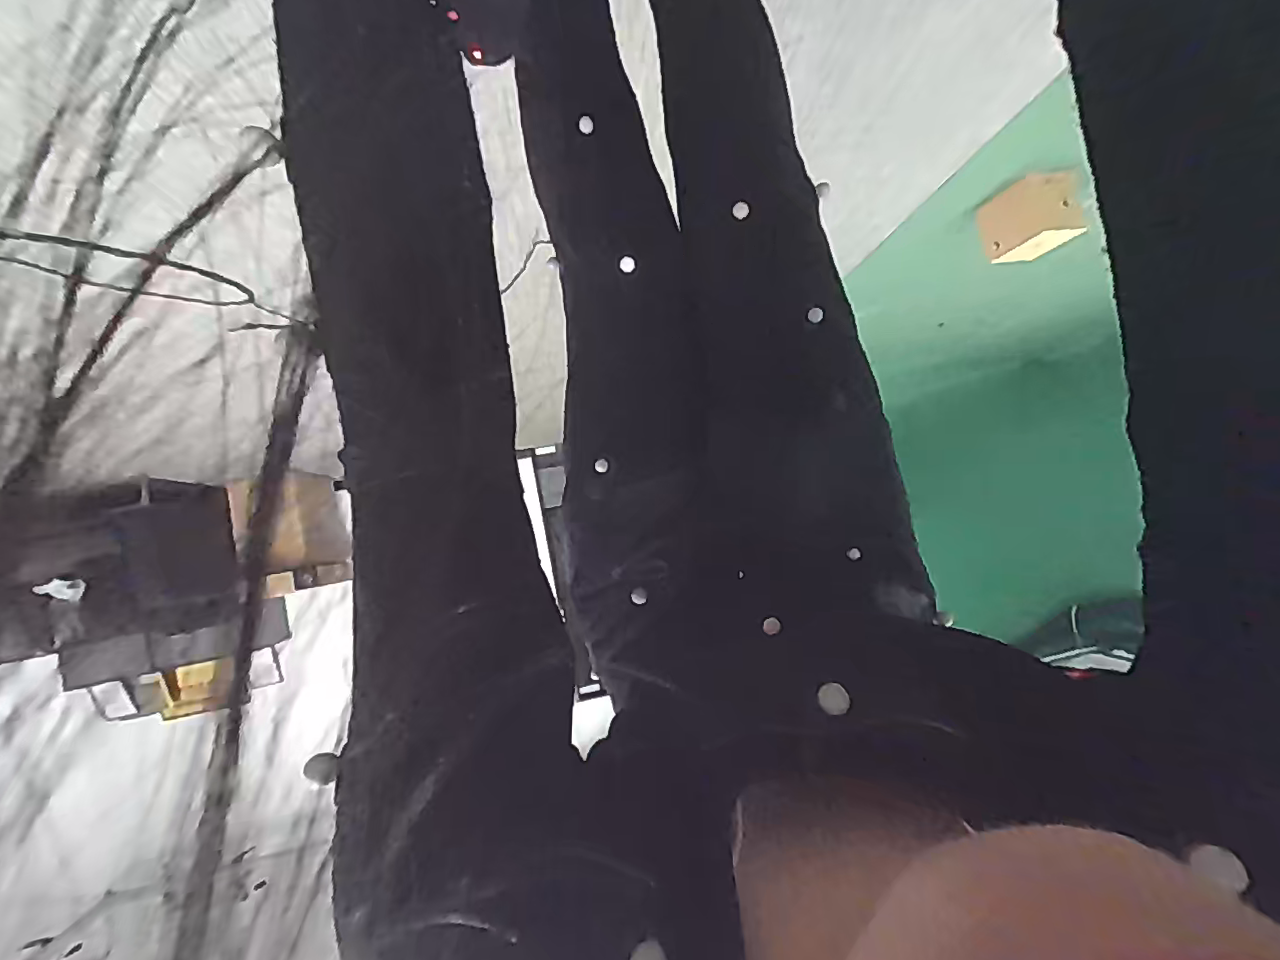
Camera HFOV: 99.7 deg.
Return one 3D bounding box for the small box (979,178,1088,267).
[{"bbox_3d":[1.110,-0.733,1.538,0.168,0.176,0.179,-10,176,-14],"label":"small box"}]
